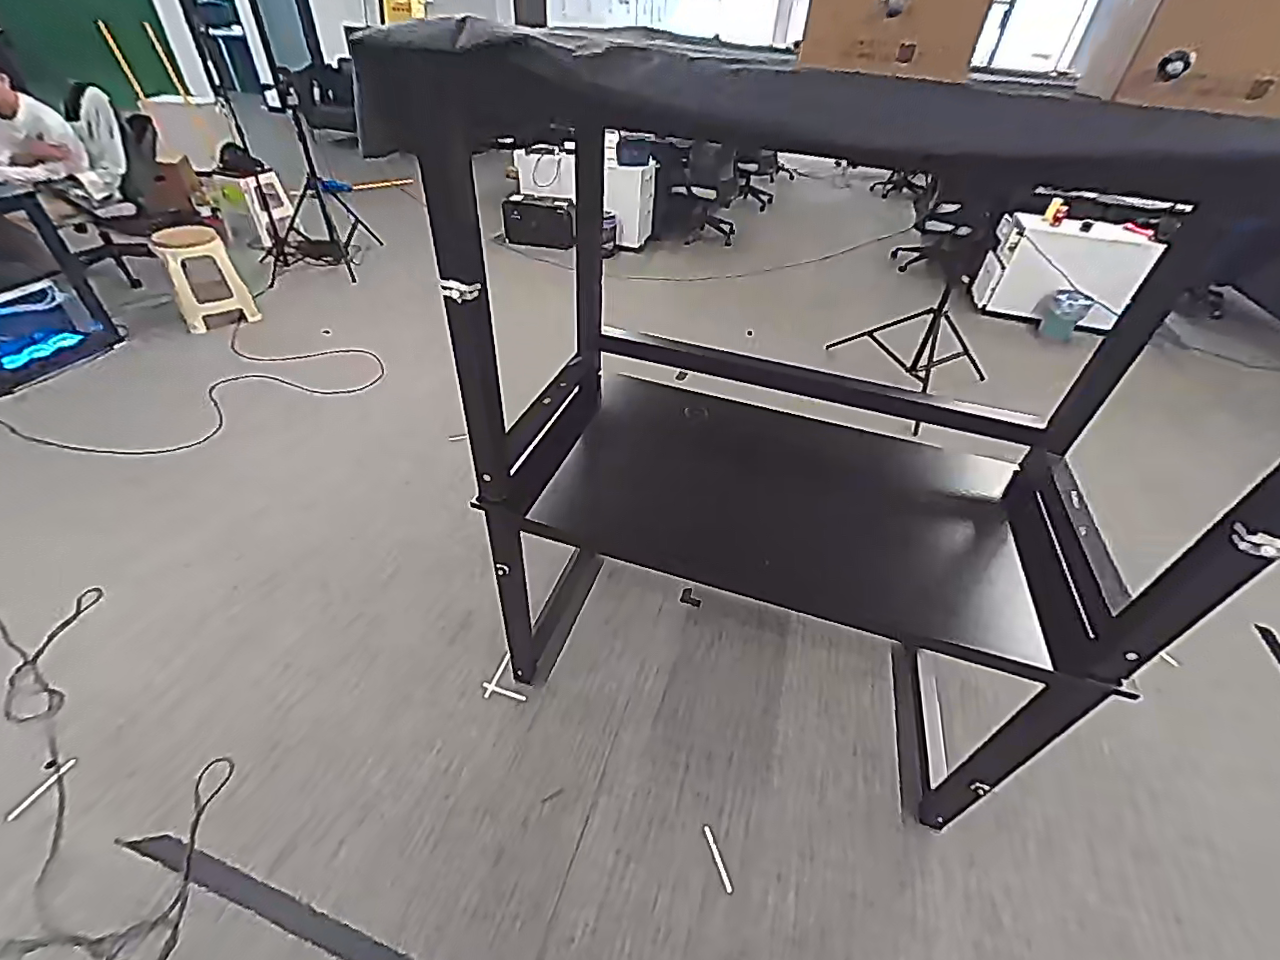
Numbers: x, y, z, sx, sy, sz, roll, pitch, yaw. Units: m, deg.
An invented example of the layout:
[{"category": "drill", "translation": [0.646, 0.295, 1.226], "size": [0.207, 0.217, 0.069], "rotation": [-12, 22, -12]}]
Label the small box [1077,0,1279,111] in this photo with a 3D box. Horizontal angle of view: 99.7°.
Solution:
[{"category": "small box", "translation": [0.556, -0.453, 0.501], "size": [0.168, 0.176, 0.179], "rotation": [17, 40, 14]}]

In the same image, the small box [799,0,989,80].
[{"category": "small box", "translation": [0.271, -0.525, 0.554], "size": [0.168, 0.176, 0.179], "rotation": [15, 39, 12]}]
